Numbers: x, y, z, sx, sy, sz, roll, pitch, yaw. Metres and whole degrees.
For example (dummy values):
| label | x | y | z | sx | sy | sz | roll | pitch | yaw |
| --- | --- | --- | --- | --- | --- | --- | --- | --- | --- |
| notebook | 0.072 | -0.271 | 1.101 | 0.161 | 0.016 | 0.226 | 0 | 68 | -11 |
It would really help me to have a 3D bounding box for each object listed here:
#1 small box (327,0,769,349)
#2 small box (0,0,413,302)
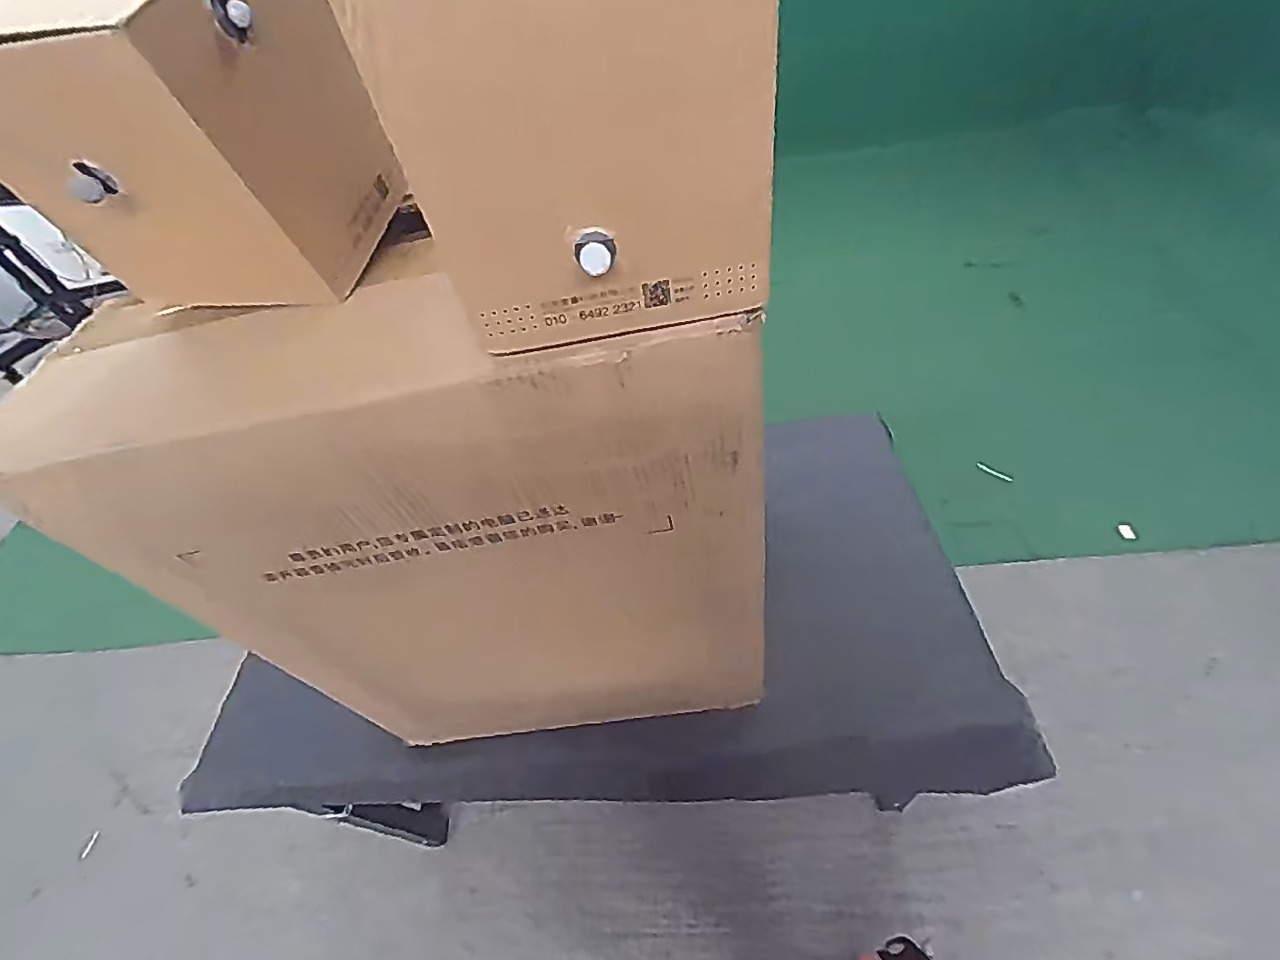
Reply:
| label | x | y | z | sx | sy | sz | roll | pitch | yaw |
| --- | --- | --- | --- | --- | --- | --- | --- | --- | --- |
| small box | -0.030 | -0.199 | 0.300 | 0.168 | 0.176 | 0.179 | -9 | 50 | 5 |
| small box | -0.296 | -0.239 | 0.370 | 0.179 | 0.176 | 0.168 | 3 | 62 | 12 |
